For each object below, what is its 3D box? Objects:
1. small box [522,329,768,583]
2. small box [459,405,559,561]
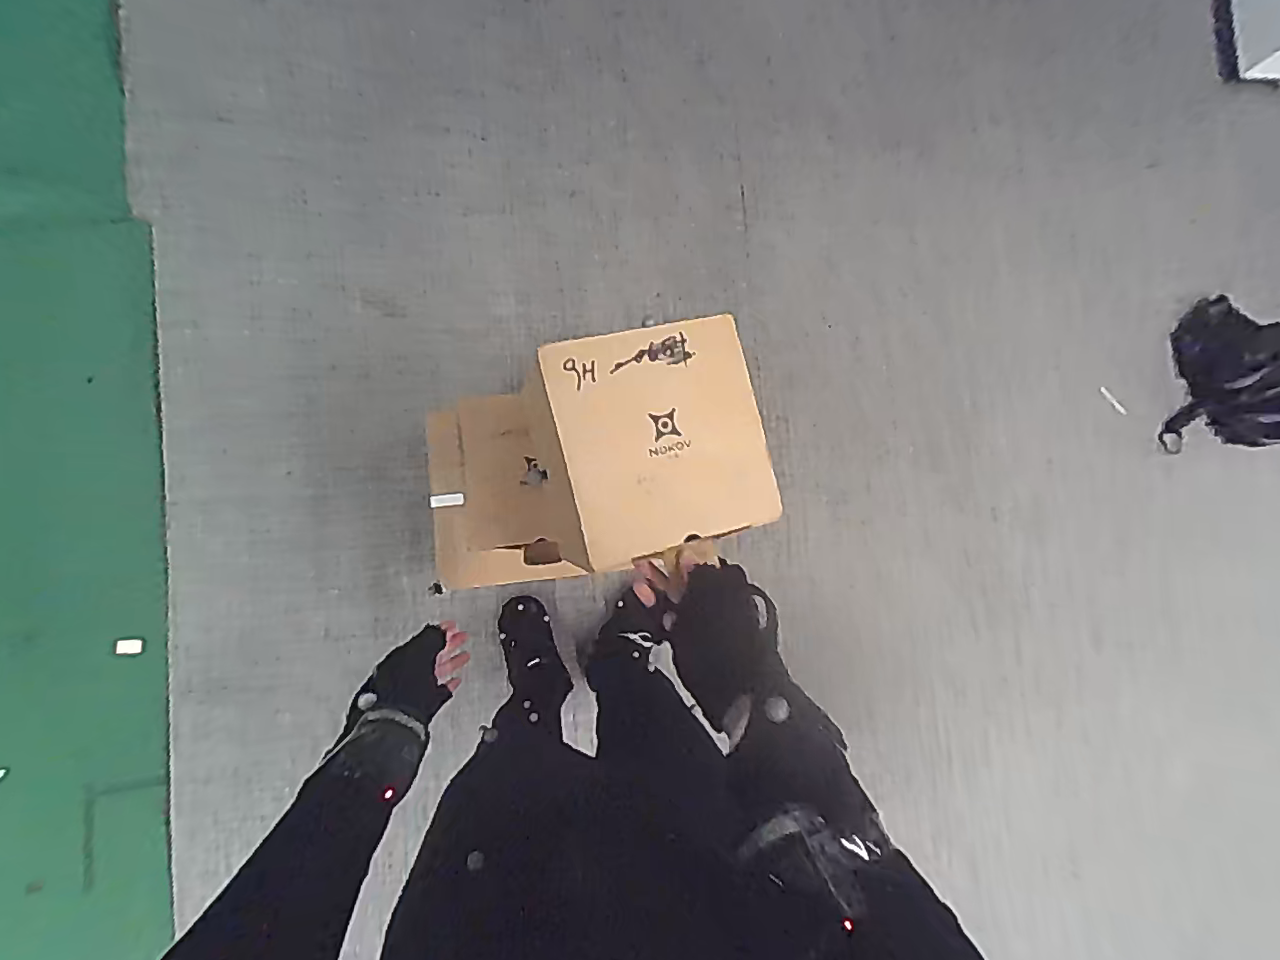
[{"bbox_3d":[-0.009,-0.019,0.505,0.168,0.176,0.179,-15,90,-15],"label":"small box"},{"bbox_3d":[-0.128,-0.002,0.701,0.168,0.176,0.179,-6,91,-8],"label":"small box"}]
